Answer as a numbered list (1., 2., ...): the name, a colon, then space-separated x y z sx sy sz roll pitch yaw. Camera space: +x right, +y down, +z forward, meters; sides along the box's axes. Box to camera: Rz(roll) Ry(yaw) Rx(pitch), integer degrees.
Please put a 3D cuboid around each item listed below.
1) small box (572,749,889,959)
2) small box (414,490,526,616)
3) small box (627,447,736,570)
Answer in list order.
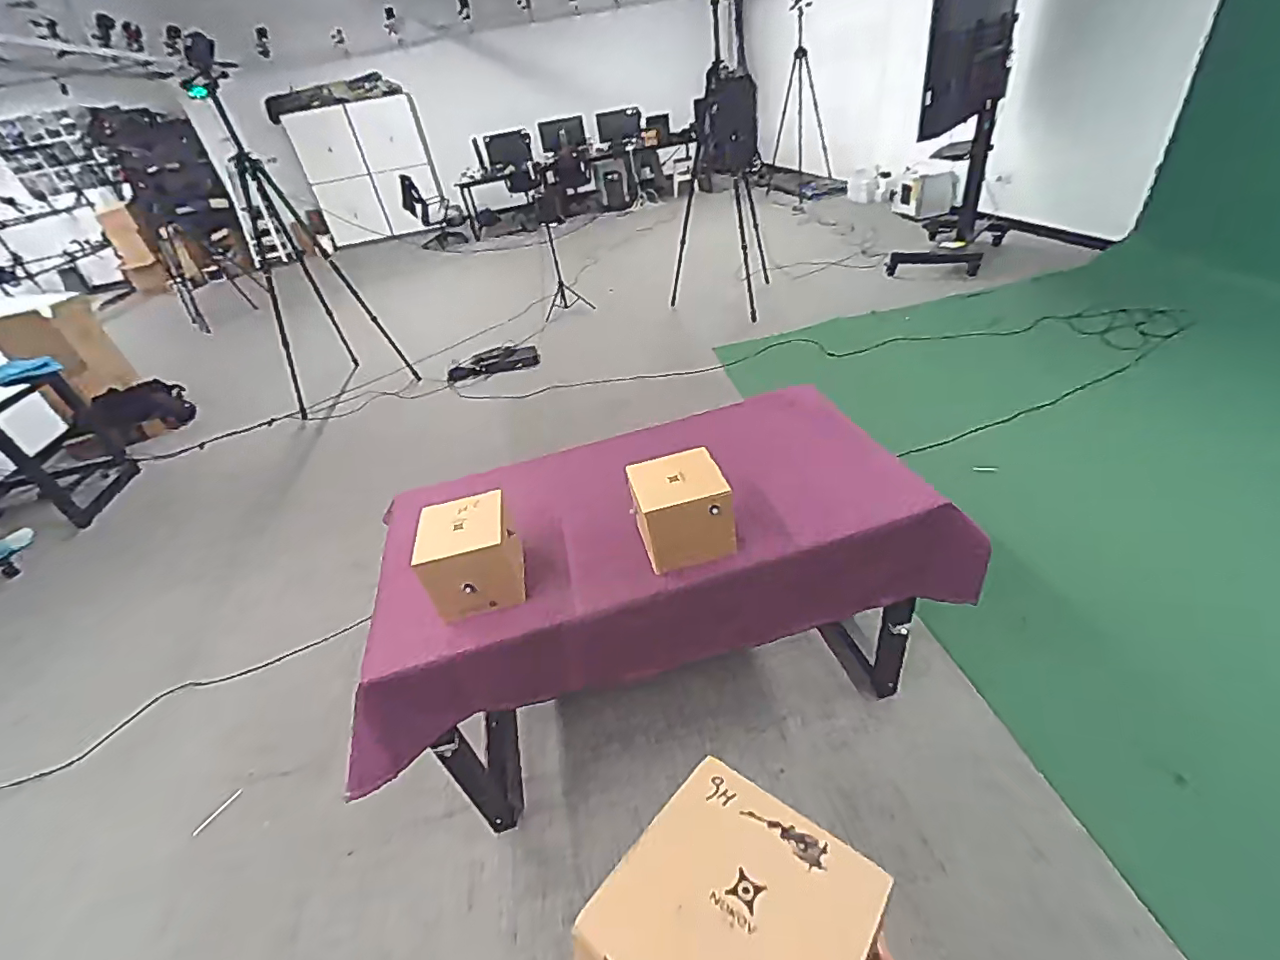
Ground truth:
1. small box: 0.071 0.367 0.420 0.168 0.176 0.179 19 32 36
2. small box: -0.332 0.152 1.088 0.168 0.176 0.179 -14 36 -4
3. small box: 0.086 0.060 1.104 0.179 0.176 0.168 -15 36 -5
